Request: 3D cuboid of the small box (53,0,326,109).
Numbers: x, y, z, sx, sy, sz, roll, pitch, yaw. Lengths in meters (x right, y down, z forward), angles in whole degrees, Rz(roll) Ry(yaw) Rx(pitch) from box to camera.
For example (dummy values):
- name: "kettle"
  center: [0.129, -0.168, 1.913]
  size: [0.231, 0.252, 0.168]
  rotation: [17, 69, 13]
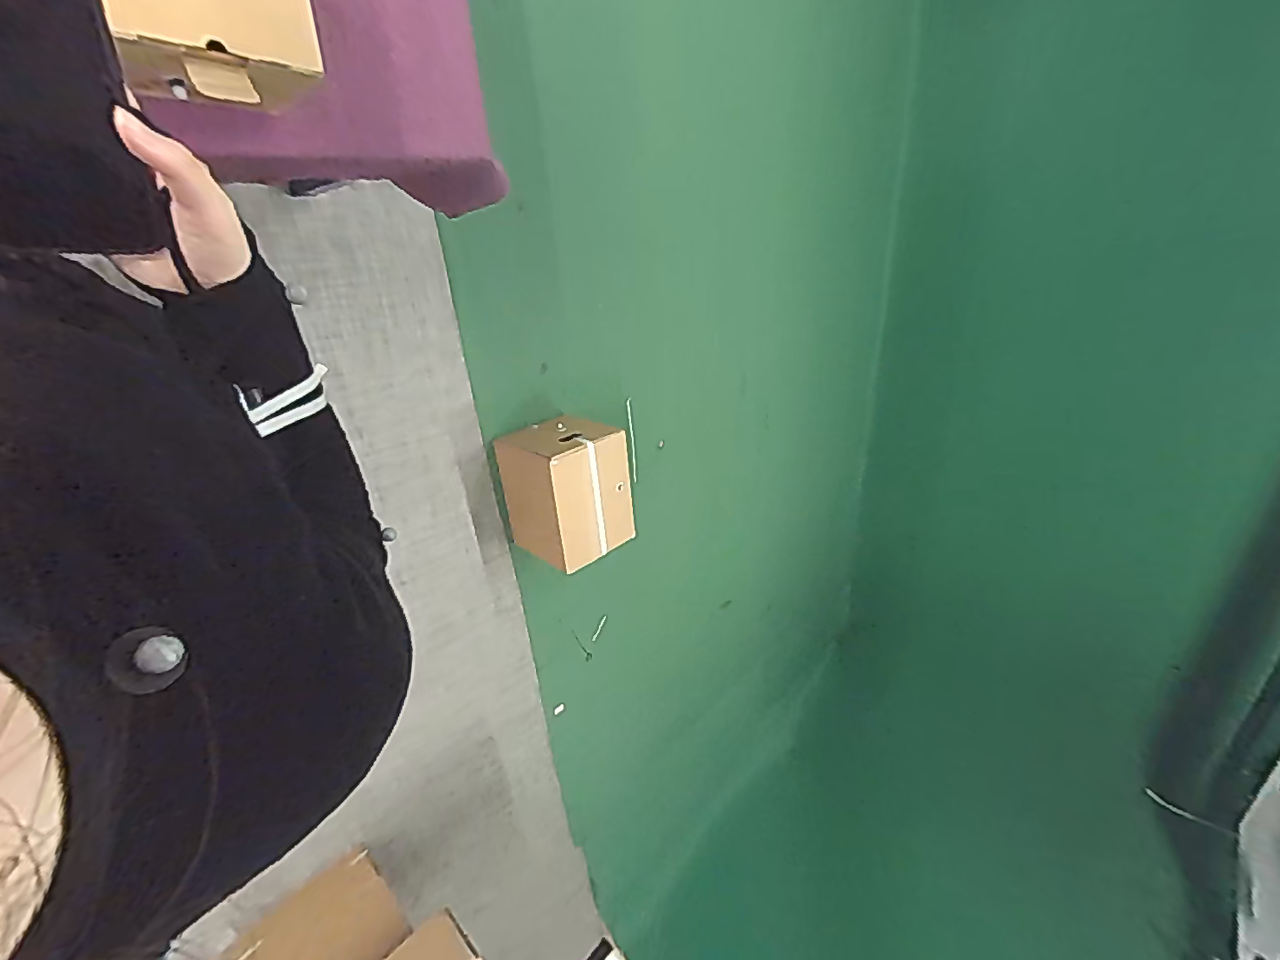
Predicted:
- name: "small box"
  center: [-0.406, -0.451, 0.467]
  size: [0.168, 0.176, 0.179]
  rotation: [-22, 121, -41]
